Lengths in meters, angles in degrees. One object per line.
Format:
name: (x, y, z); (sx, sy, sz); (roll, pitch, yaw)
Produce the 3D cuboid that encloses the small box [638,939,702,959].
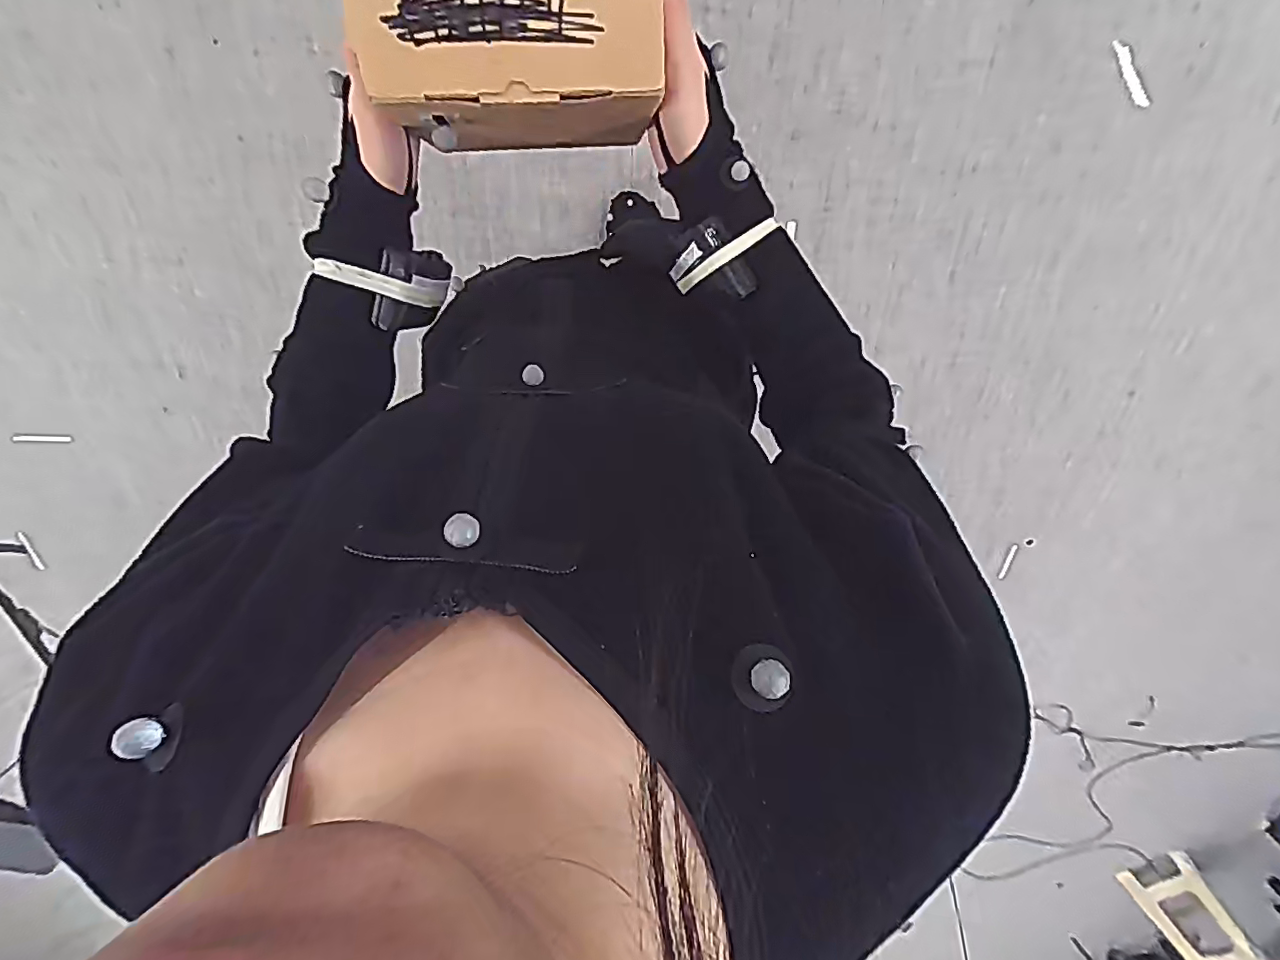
small box: (0.082, 1.371, 1.453); (0.179, 0.176, 0.168); (-2, 121, -1)
